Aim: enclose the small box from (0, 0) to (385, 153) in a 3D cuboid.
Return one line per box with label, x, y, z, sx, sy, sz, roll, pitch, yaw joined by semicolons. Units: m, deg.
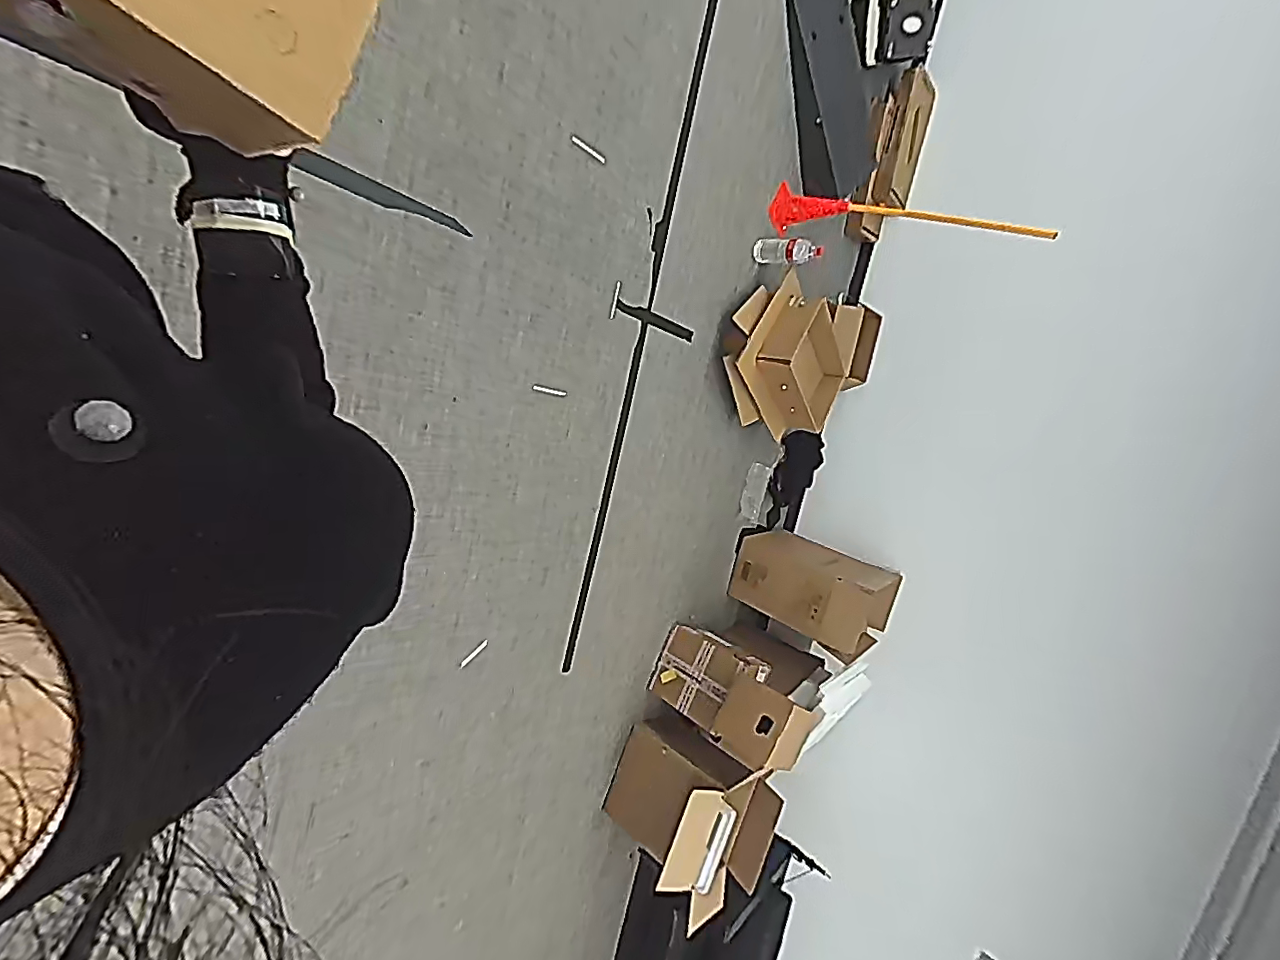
small box;-0.243;-0.305;0.284;0.168;0.176;0.179;20;92;-51
